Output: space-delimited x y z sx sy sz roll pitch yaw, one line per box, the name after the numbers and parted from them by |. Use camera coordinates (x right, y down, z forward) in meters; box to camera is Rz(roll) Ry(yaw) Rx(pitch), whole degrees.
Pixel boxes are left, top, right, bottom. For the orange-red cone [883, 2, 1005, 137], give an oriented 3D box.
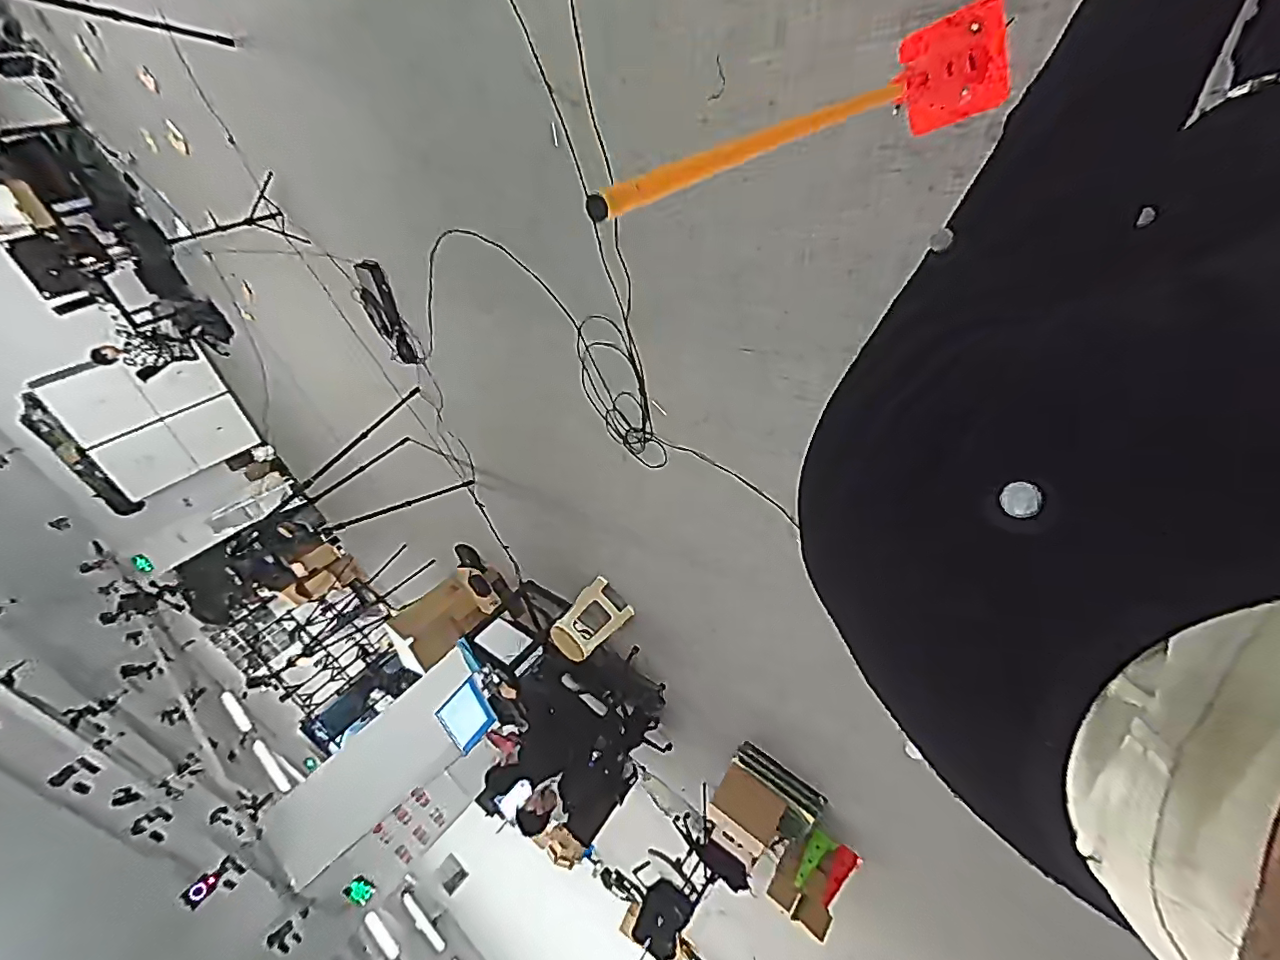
0.572 -0.795 1.086 0.199 0.360 0.198 6 126 46 | orange-red cone
